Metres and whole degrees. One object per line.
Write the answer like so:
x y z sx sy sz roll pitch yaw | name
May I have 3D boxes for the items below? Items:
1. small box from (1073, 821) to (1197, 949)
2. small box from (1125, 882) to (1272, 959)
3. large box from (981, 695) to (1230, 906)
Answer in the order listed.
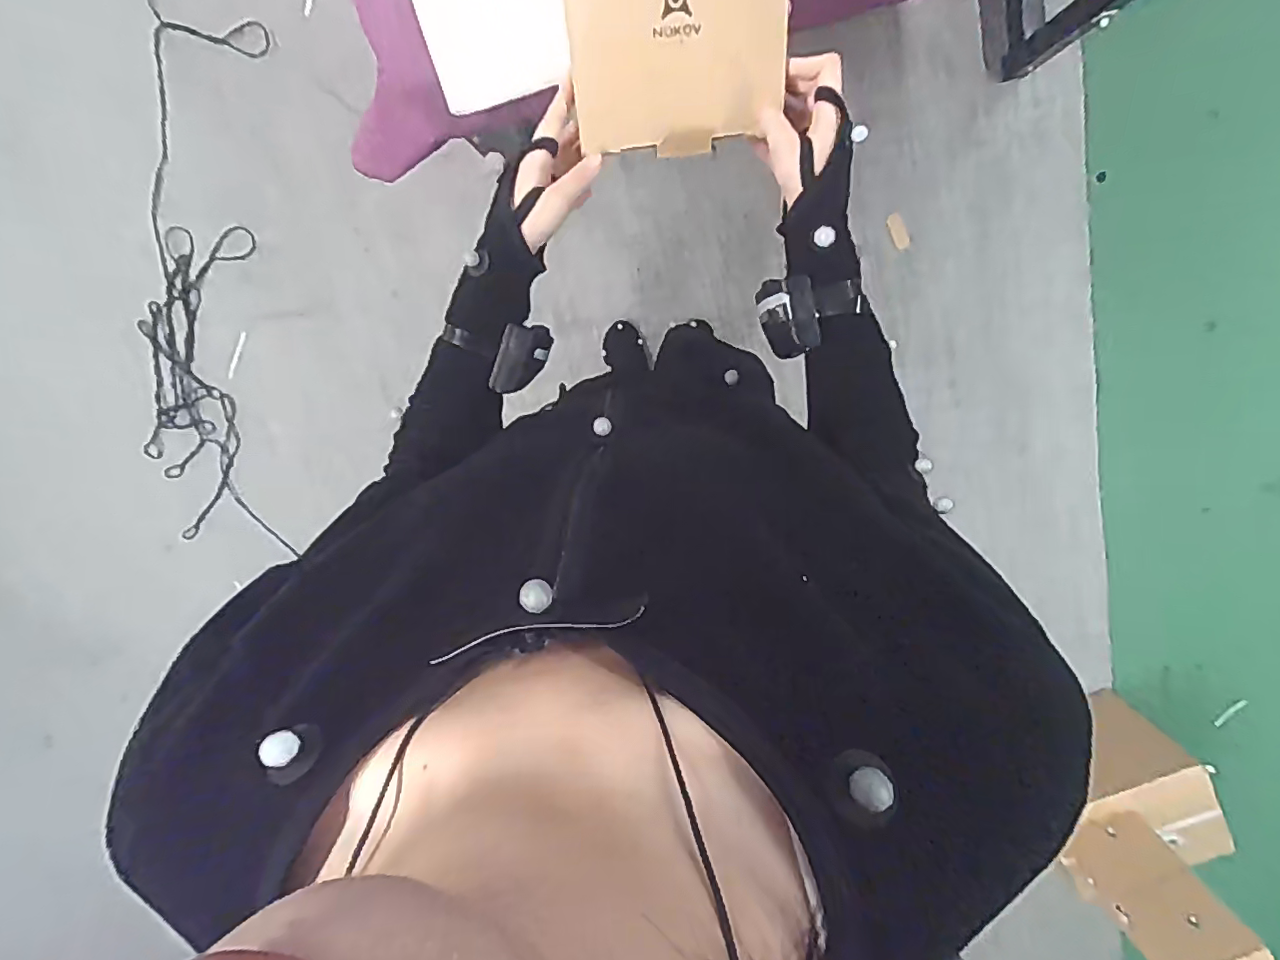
1.216 0.989 1.330 0.179 0.176 0.168 -23 103 8 | small box
1.209 1.028 1.171 0.179 0.176 0.168 -27 102 7 | small box
1.308 0.905 1.559 0.408 0.320 0.320 -28 103 8 | large box
